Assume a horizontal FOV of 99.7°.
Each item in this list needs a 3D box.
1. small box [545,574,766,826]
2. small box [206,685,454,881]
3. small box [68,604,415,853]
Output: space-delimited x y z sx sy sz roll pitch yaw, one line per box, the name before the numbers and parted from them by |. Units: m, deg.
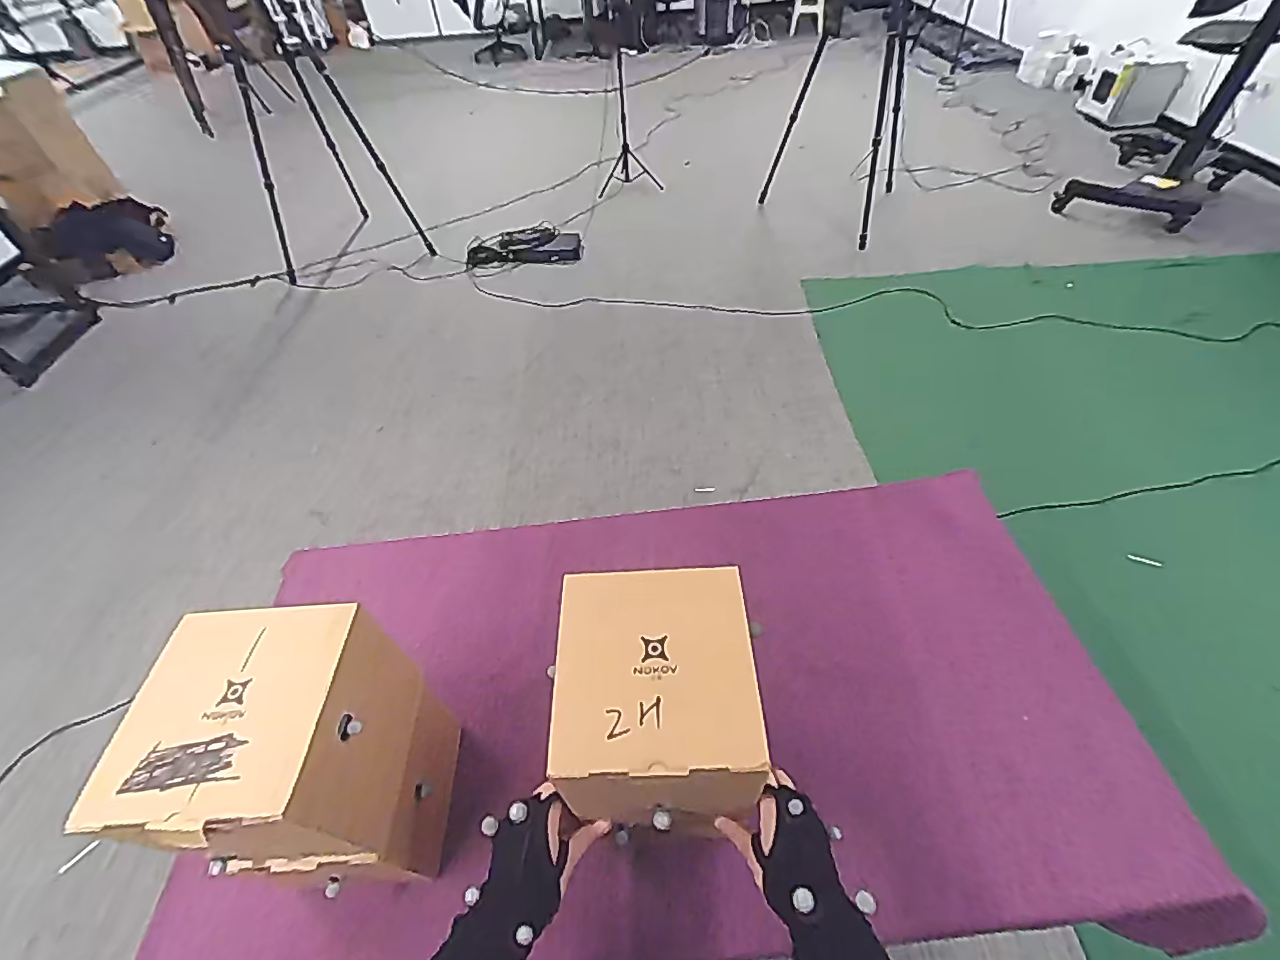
small box | 0.015 0.207 0.509 0.168 0.176 0.179 -2 49 2
small box | -0.329 0.351 0.624 0.168 0.176 0.179 -3 49 0
small box | -0.334 0.236 0.505 0.168 0.176 0.179 -3 48 1
